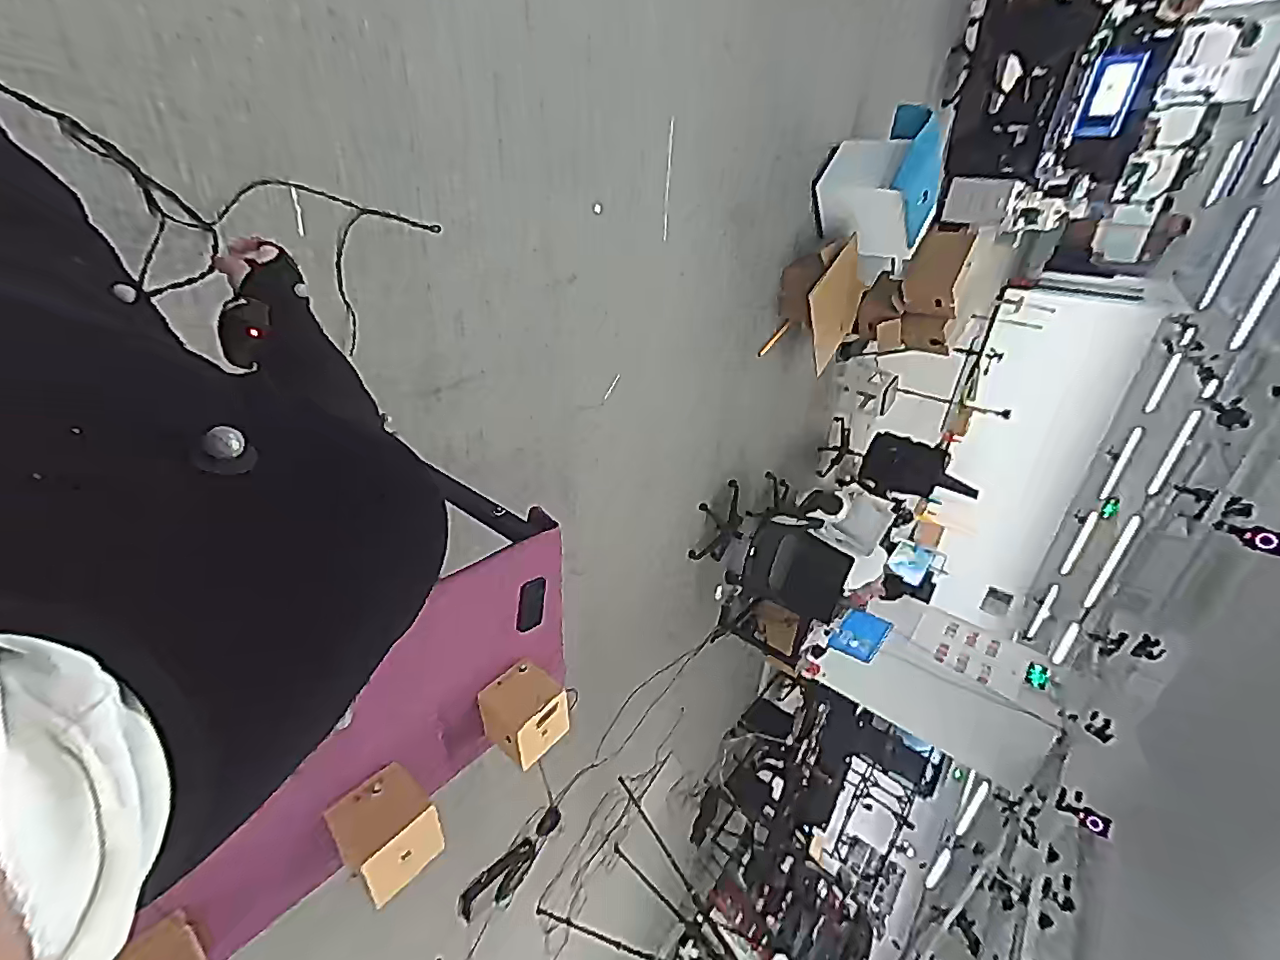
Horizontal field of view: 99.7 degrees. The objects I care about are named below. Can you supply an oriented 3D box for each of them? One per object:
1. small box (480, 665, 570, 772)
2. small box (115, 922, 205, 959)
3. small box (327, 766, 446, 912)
[{"bbox_3d":[-0.308,0.626,1.451,0.168,0.176,0.179,-31,134,-41],"label":"small box"},{"bbox_3d":[-0.817,0.901,0.900,0.168,0.176,0.179,-26,130,-46],"label":"small box"},{"bbox_3d":[-0.558,0.782,1.196,0.168,0.176,0.179,-29,131,-44],"label":"small box"}]
